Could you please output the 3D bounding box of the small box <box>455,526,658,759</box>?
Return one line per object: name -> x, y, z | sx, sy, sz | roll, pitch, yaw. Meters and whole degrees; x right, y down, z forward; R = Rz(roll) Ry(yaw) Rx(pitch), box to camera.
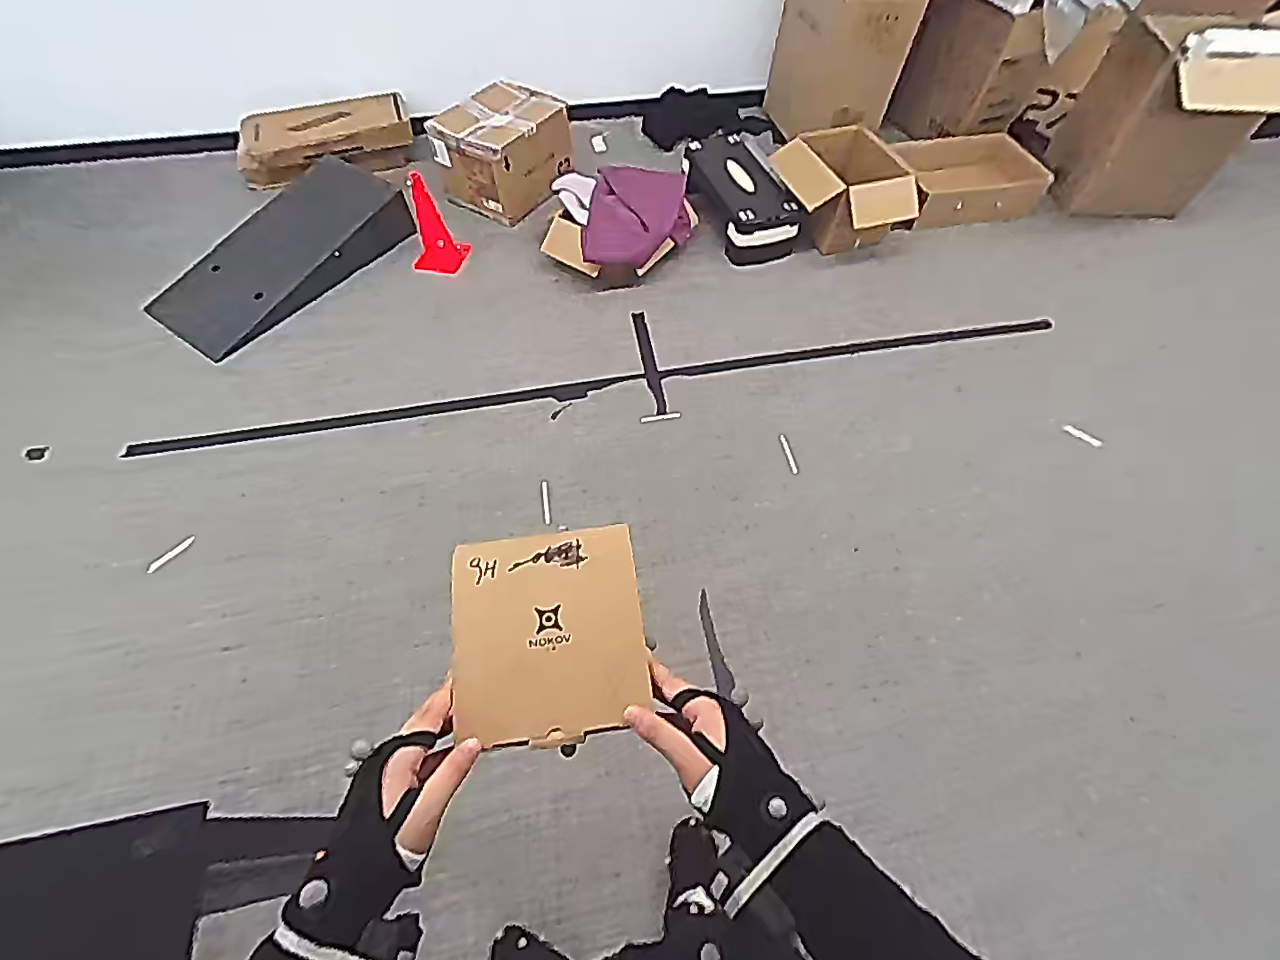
small box -> -0.074, 0.160, 0.536 | 0.168, 0.176, 0.179 | -8, 68, -4
